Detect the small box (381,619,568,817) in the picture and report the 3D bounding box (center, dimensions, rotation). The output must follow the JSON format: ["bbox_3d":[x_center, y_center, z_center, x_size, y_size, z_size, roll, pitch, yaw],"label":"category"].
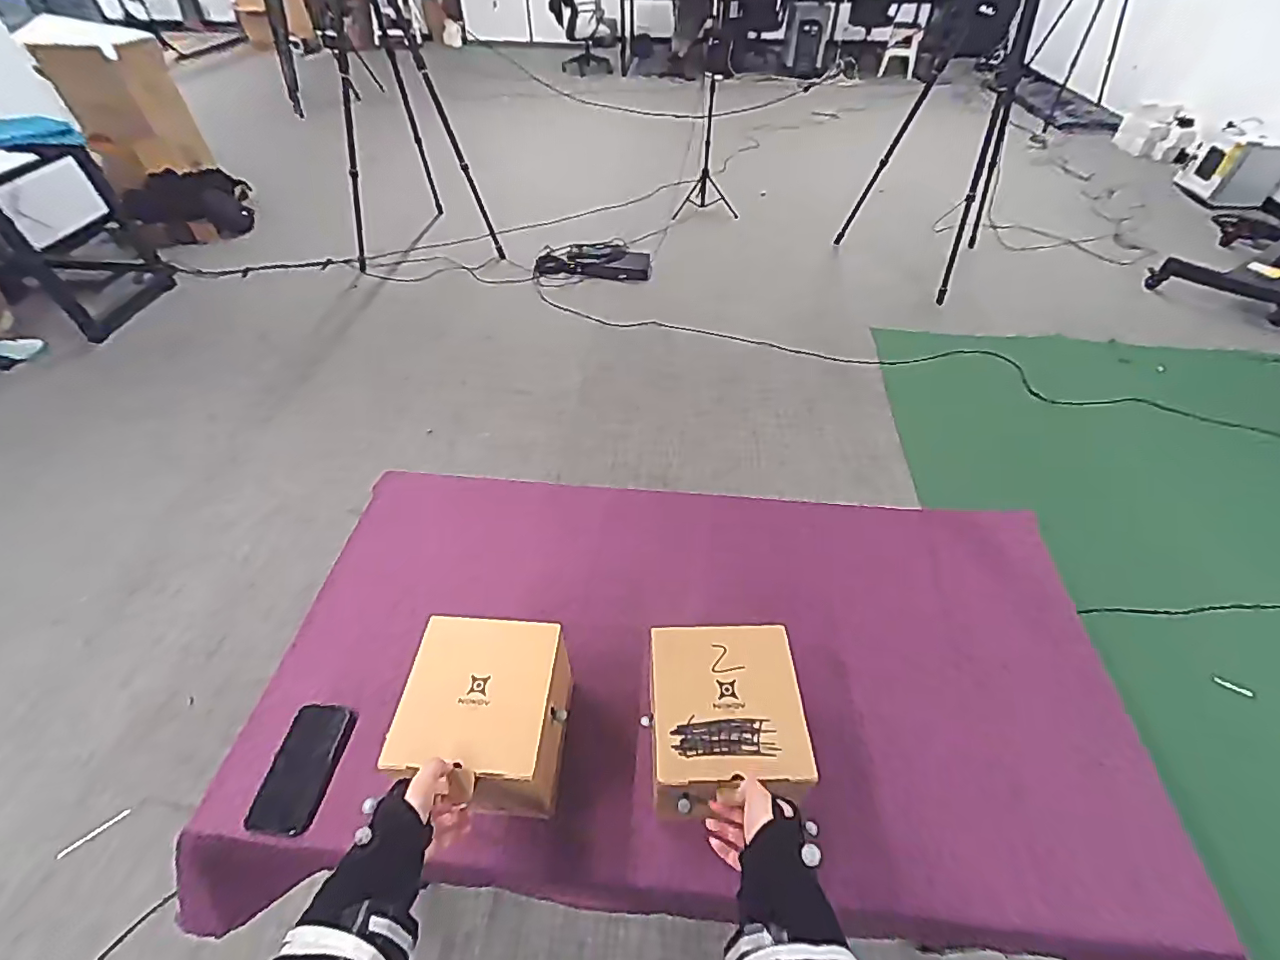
[{"bbox_3d":[-0.186,0.297,0.676,0.168,0.176,0.179,3,48,3],"label":"small box"}]
